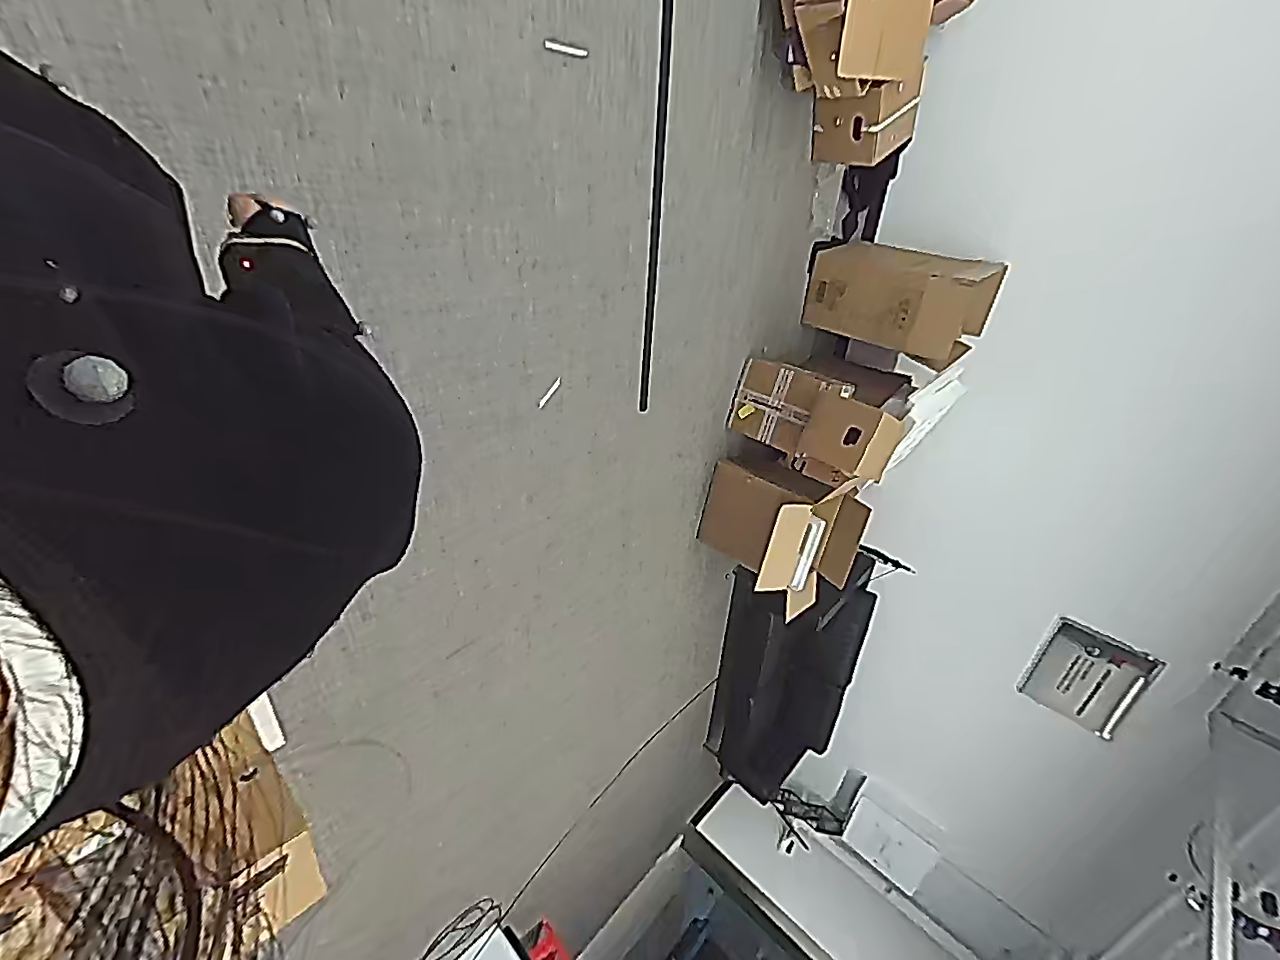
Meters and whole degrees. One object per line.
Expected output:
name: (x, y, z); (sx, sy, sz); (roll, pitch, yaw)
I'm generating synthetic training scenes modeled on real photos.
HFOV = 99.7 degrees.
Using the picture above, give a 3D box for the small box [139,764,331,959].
small box: (-0.573, 0.545, 0.770); (0.168, 0.176, 0.179); (-22, 130, -42)

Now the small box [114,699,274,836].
small box: (-0.695, 0.483, 0.862); (0.168, 0.176, 0.179); (-21, 128, -43)
